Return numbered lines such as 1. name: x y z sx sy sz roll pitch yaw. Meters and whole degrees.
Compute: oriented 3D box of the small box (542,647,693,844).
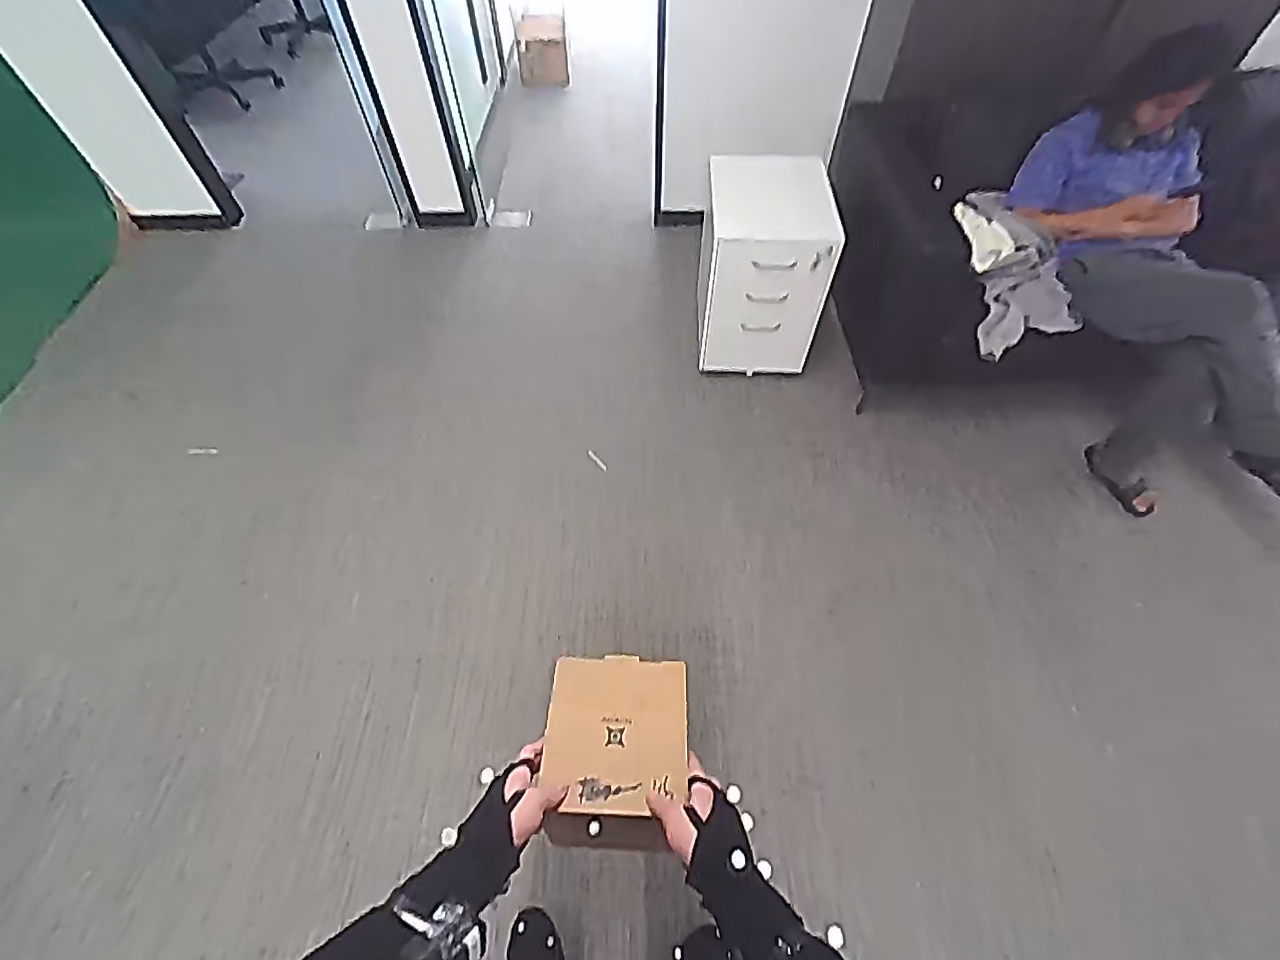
1. small box: -0.022 0.337 0.690 0.168 0.176 0.179 2 45 1
